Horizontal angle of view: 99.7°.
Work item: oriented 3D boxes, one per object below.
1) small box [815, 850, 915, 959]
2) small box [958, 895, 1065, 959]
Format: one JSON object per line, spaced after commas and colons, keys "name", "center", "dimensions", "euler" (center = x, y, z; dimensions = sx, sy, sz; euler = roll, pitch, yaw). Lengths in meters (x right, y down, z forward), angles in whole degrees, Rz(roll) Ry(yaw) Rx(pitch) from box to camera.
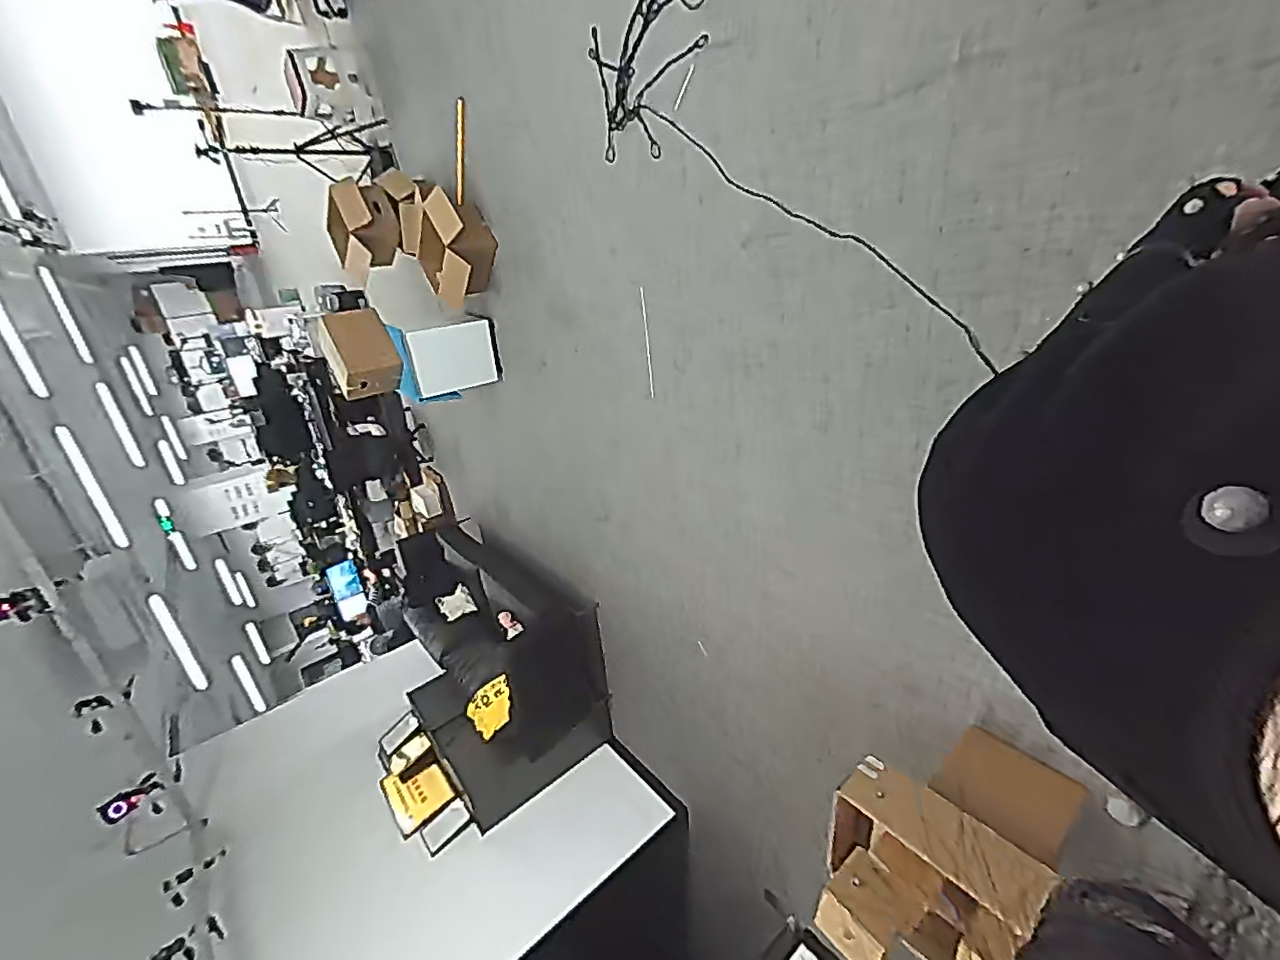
{"name": "small box", "center": [0.579, 1.111, 1.392], "dimensions": [0.168, 0.176, 0.179], "euler": [30, 131, 44]}
{"name": "small box", "center": [0.881, 1.164, 1.292], "dimensions": [0.168, 0.176, 0.179], "euler": [19, 123, 48]}
